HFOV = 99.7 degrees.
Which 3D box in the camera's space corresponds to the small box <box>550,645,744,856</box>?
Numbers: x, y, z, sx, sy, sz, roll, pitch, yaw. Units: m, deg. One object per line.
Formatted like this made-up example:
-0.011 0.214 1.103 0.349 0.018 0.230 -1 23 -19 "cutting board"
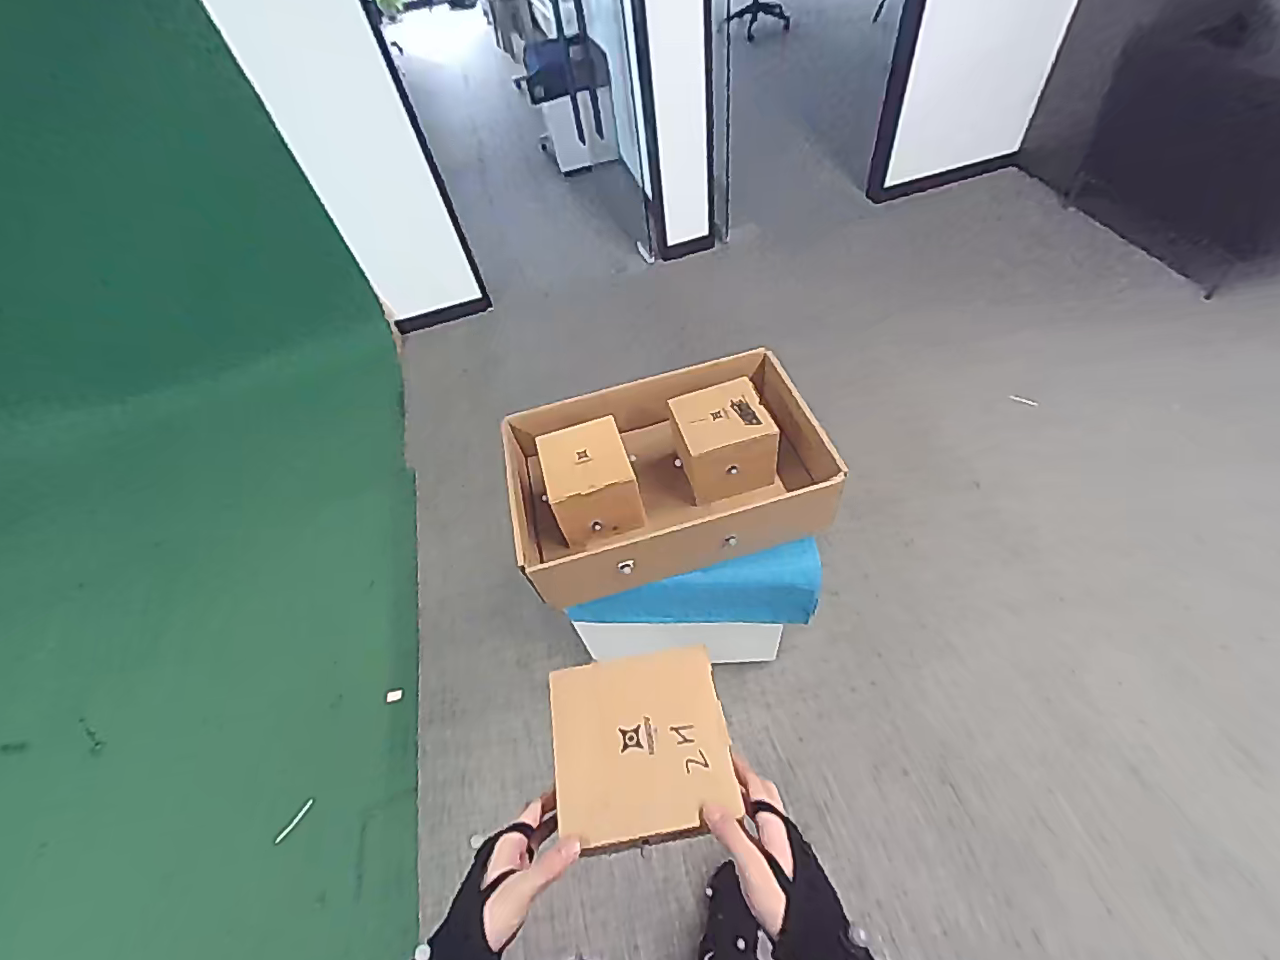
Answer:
0.006 0.303 0.599 0.179 0.176 0.168 -9 54 -3 "small box"
